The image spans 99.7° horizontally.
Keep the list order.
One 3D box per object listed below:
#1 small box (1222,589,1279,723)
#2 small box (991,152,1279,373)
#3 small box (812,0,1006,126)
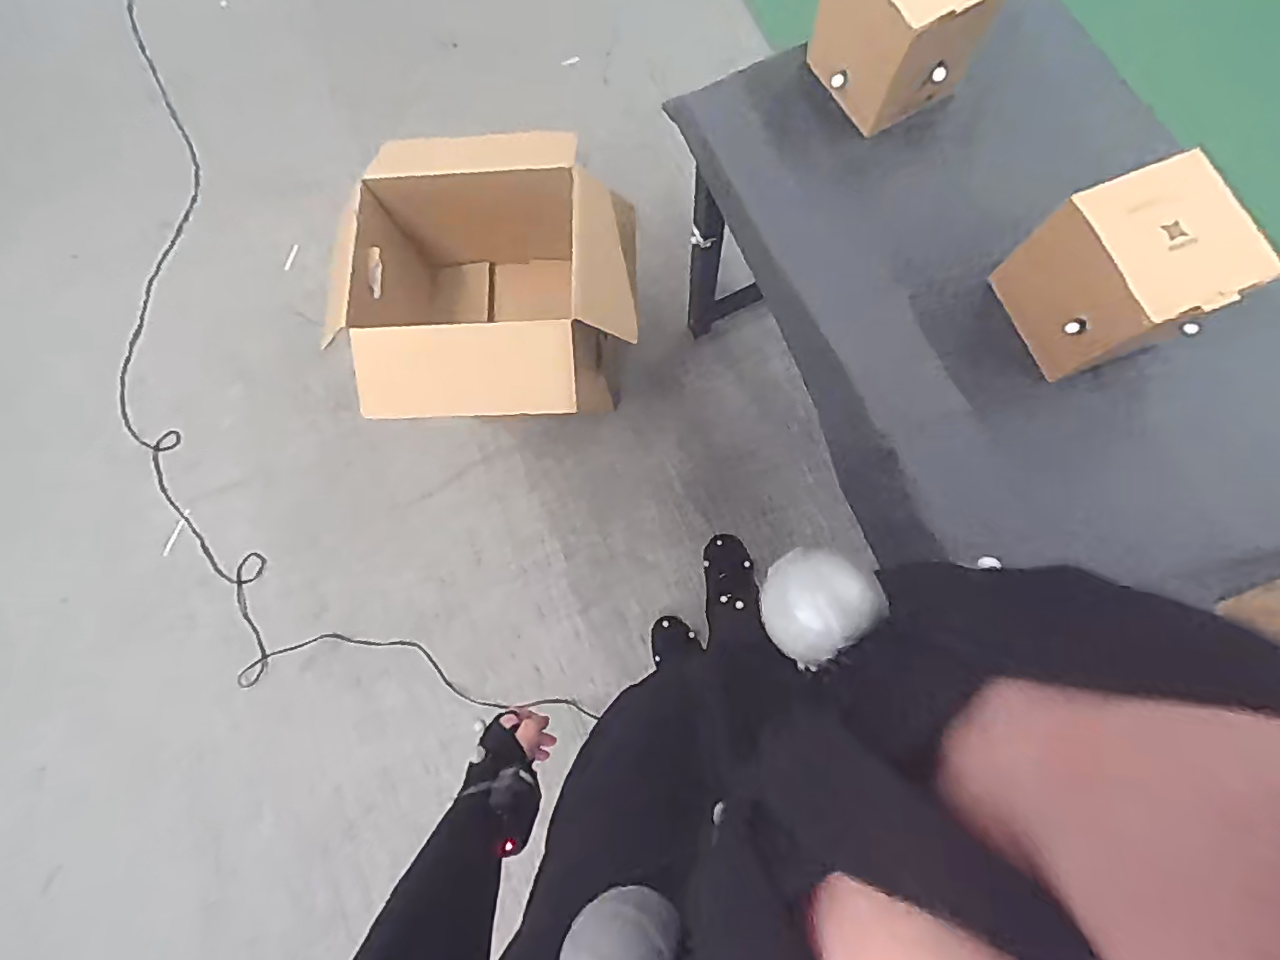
[{"bbox_3d":[0.800,0.191,0.568,0.168,0.176,0.179,-20,78,-1],"label":"small box"},{"bbox_3d":[0.596,-0.253,0.677,0.168,0.176,0.179,-21,77,-2],"label":"small box"},{"bbox_3d":[0.376,-0.649,0.770,0.168,0.176,0.179,-29,79,-3],"label":"small box"}]
